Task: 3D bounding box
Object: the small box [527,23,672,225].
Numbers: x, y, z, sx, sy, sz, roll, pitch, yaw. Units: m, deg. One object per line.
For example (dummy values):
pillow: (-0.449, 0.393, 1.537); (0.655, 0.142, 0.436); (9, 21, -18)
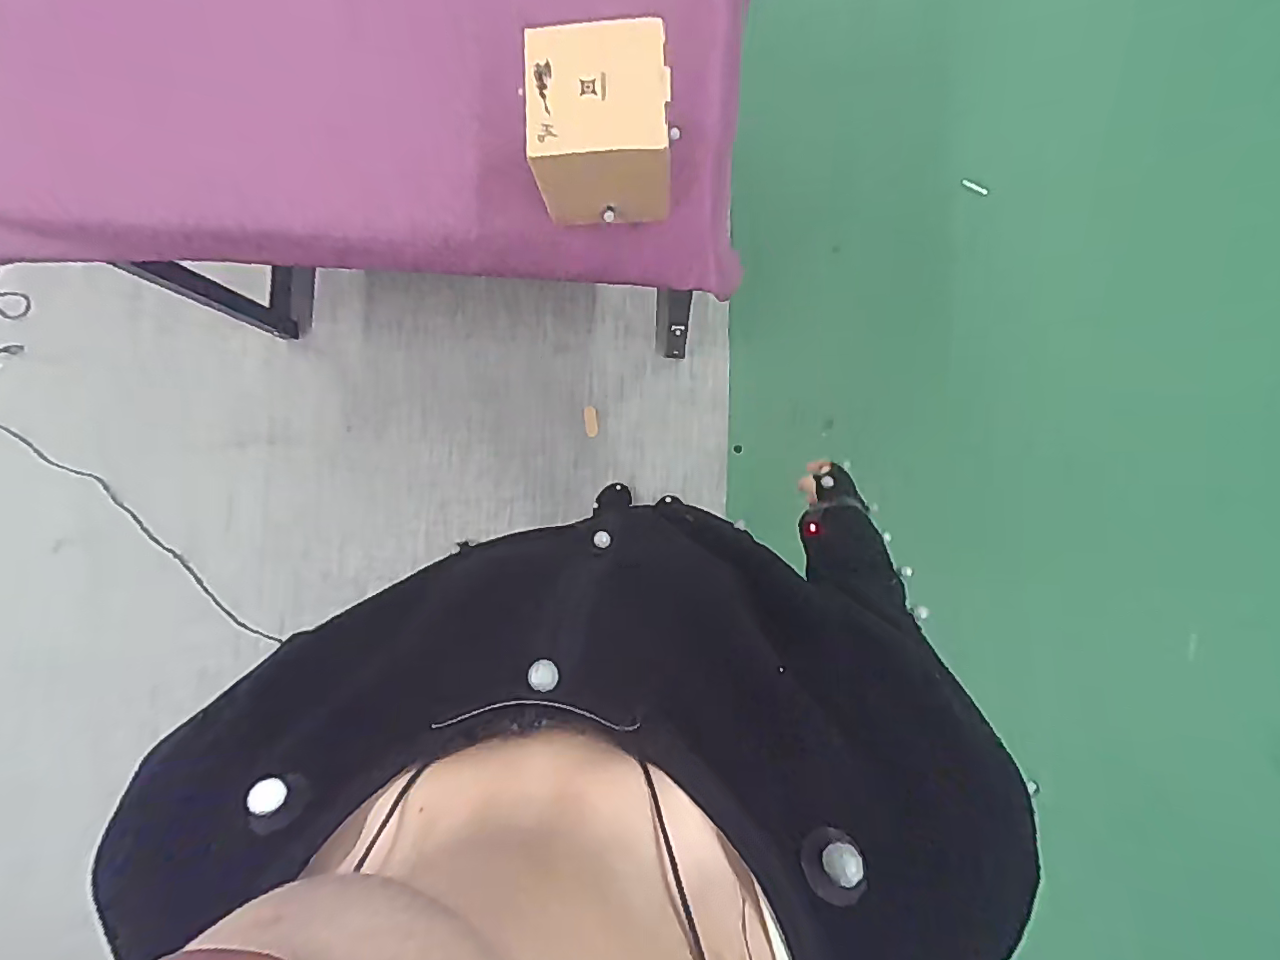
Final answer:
small box: (-0.048, -0.469, 0.736); (0.179, 0.176, 0.168); (-1, 87, 3)
